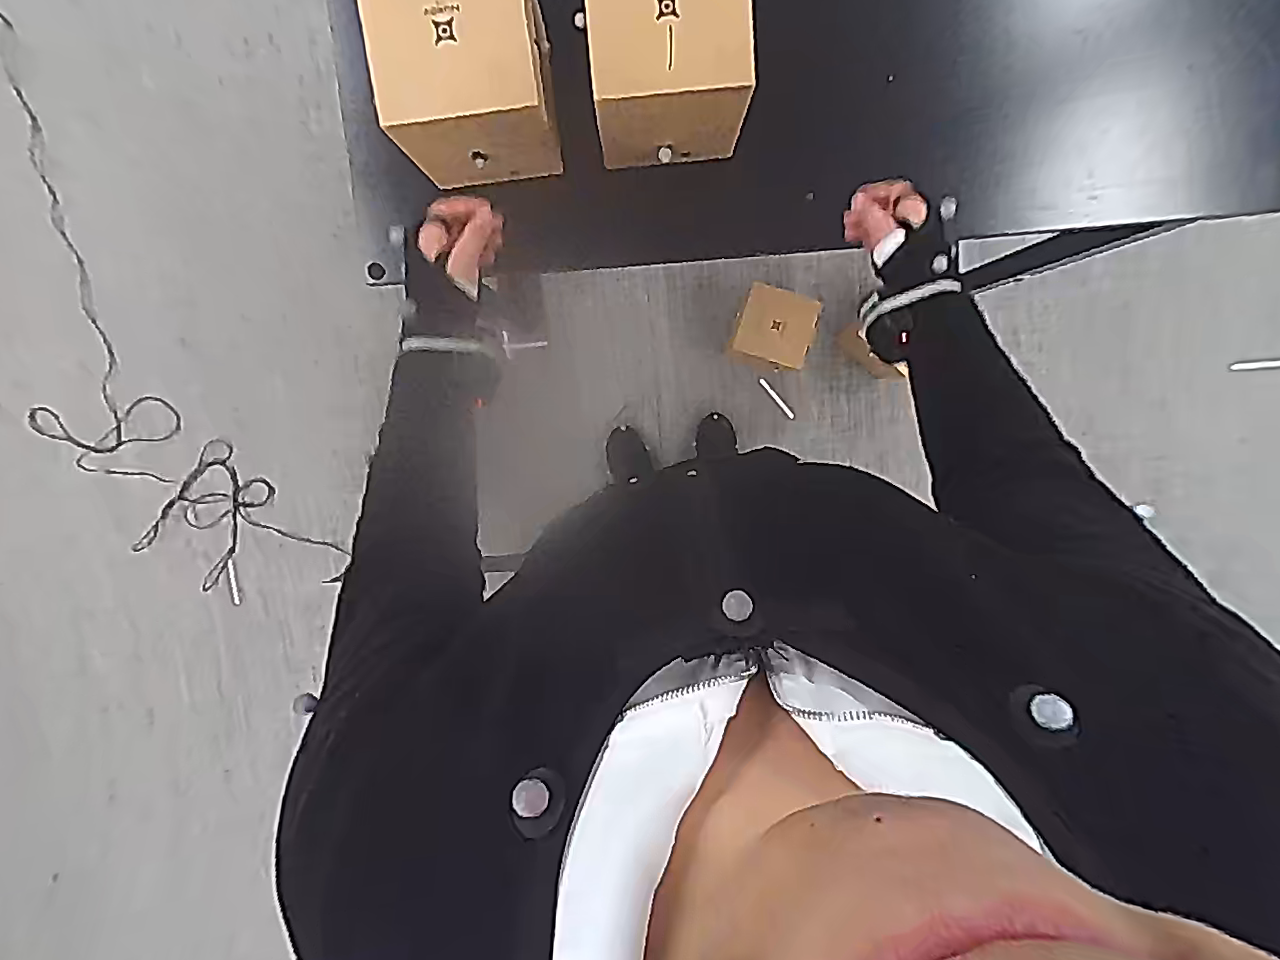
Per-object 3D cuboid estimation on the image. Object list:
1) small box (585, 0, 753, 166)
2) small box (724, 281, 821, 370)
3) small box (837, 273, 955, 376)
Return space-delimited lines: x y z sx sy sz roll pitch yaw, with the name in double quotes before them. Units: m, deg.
"small box" 0.027 -0.486 0.609 0.168 0.176 0.179 -4 99 2
"small box" 0.324 -0.380 1.359 0.179 0.176 0.168 17 98 -1
"small box" 0.627 -0.379 1.351 0.168 0.176 0.179 39 97 -4
